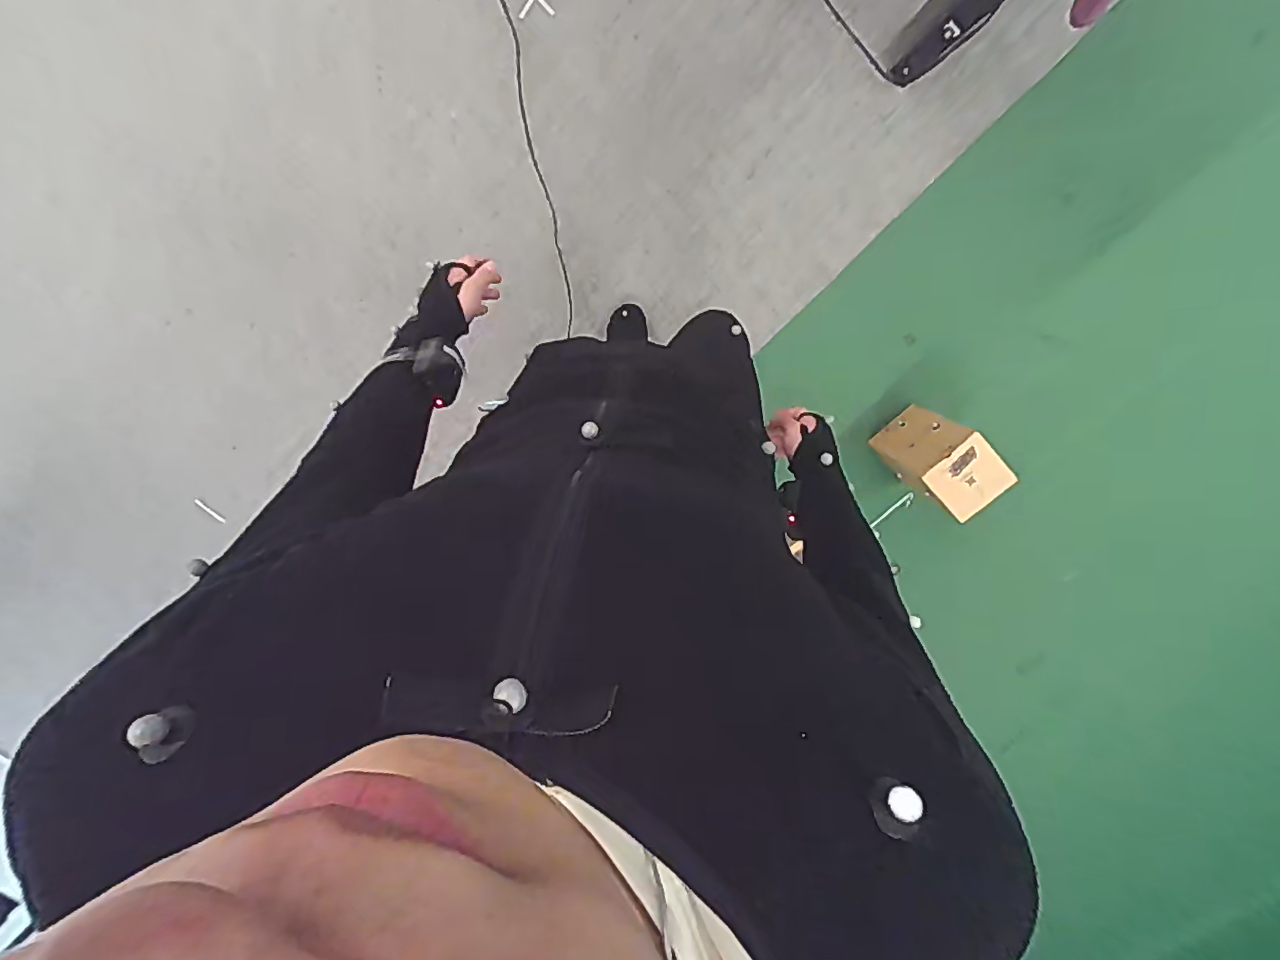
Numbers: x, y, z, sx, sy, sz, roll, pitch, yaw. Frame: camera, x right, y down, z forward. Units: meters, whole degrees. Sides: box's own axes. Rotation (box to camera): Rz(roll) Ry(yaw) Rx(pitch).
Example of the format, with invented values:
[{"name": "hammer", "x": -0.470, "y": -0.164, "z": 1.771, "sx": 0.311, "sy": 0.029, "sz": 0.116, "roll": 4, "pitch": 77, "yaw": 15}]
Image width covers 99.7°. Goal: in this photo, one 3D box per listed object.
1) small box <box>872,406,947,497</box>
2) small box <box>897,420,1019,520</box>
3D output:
[{"name": "small box", "x": 0.801, "y": -0.088, "z": 1.535, "sx": 0.179, "sy": 0.176, "sz": 0.168, "roll": 43, "pitch": 104, "yaw": -12}, {"name": "small box", "x": 0.799, "y": -0.035, "z": 1.380, "sx": 0.179, "sy": 0.176, "sz": 0.168, "roll": 43, "pitch": 104, "yaw": -13}]
